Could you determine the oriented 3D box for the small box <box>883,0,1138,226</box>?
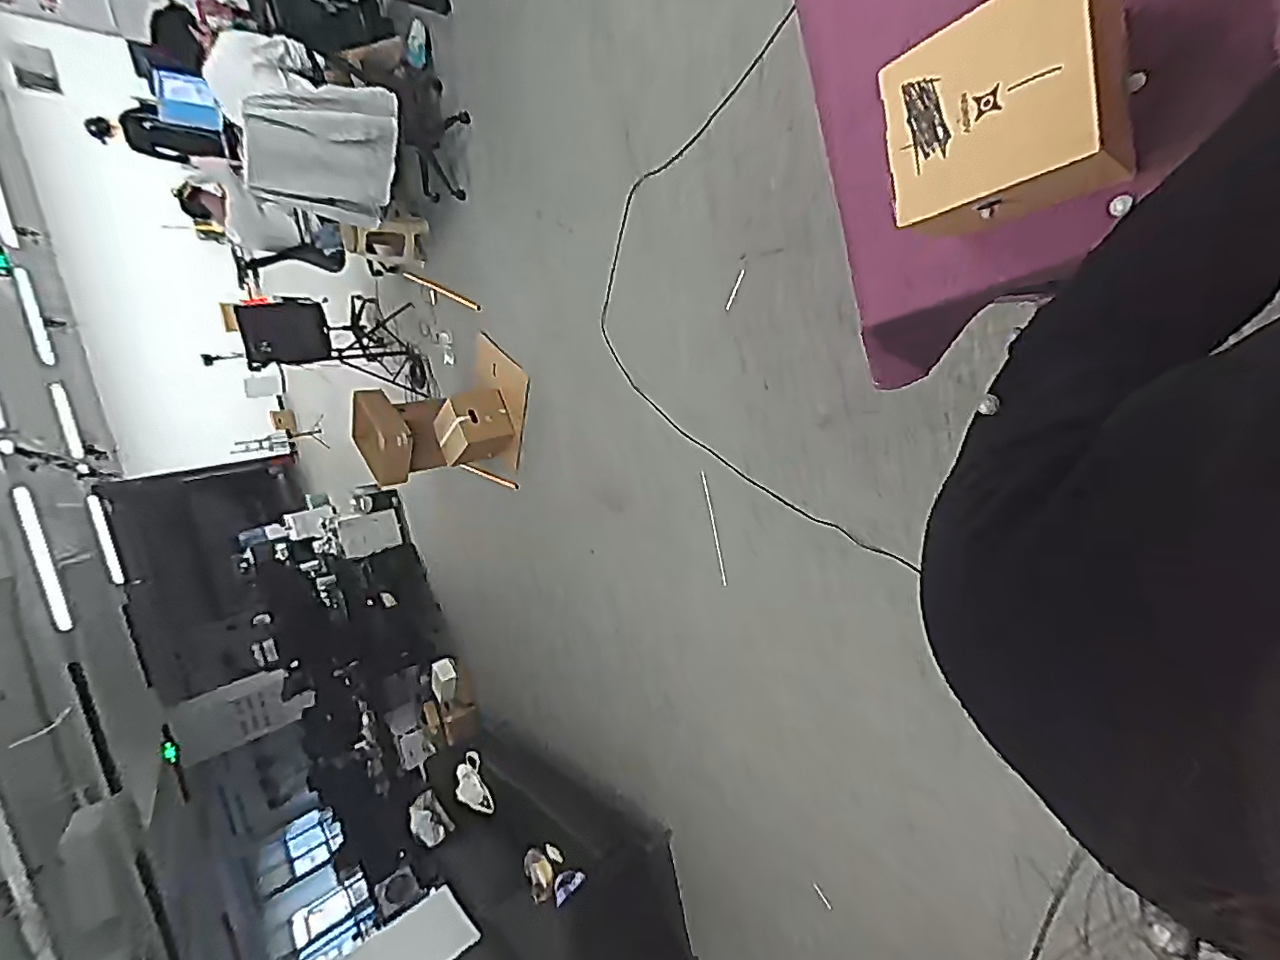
[{"bbox_3d":[0.387,-0.384,0.568,0.179,0.176,0.168,-2,101,50],"label":"small box"}]
